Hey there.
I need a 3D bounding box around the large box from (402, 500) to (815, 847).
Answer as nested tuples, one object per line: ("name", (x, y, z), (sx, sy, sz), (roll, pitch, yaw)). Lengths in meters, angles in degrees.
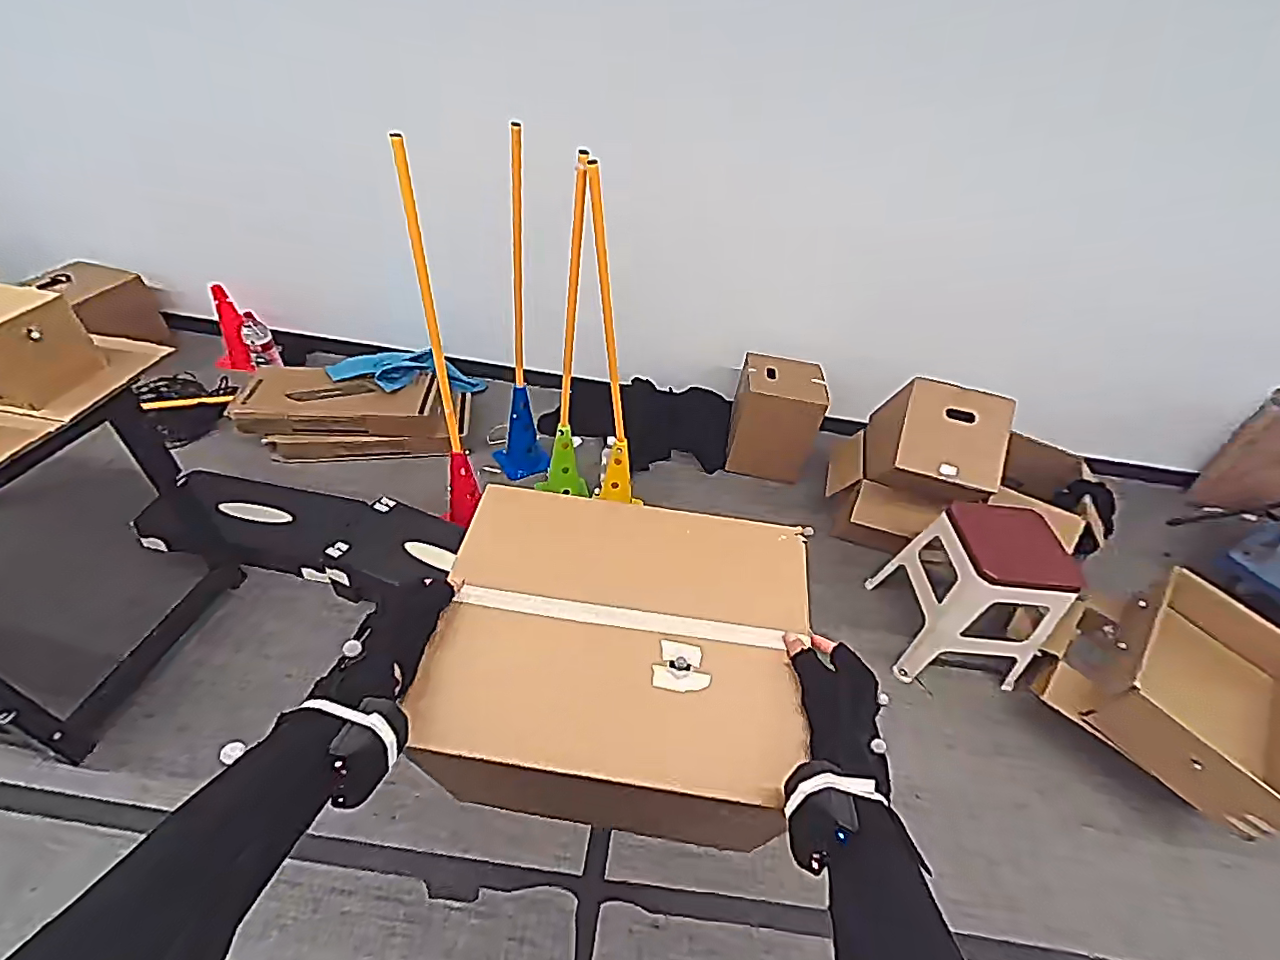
("large box", (-0.025, 0.259, 0.716), (0.408, 0.320, 0.320), (8, 51, 2))
